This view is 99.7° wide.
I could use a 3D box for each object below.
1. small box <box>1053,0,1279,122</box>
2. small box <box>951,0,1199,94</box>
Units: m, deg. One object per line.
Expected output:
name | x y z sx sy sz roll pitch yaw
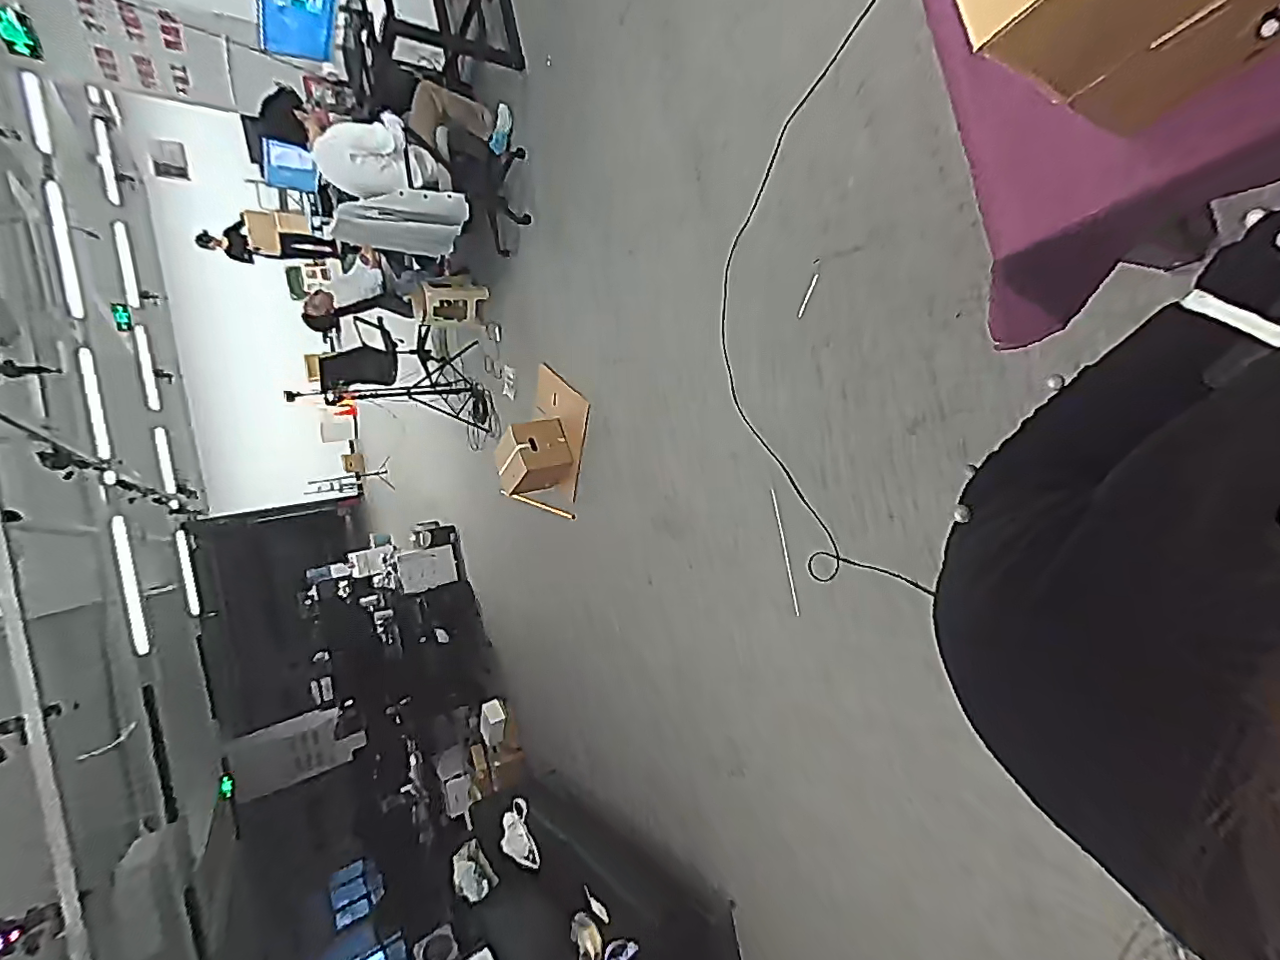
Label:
small box | 0.476 -0.461 0.487 0.168 0.176 0.179 -19 84 54
small box | 0.343 -0.435 0.397 0.179 0.176 0.168 -21 82 53
